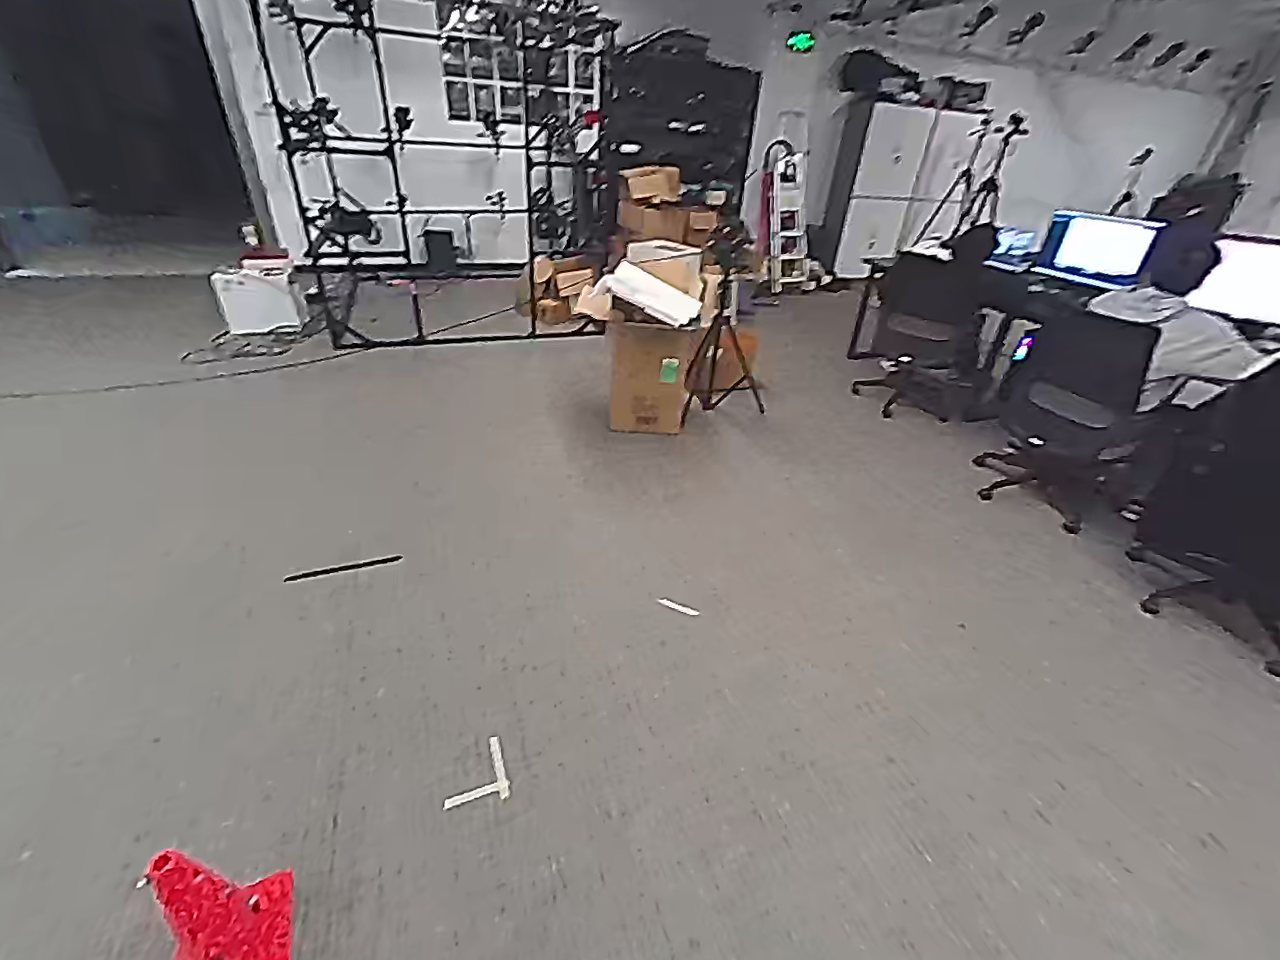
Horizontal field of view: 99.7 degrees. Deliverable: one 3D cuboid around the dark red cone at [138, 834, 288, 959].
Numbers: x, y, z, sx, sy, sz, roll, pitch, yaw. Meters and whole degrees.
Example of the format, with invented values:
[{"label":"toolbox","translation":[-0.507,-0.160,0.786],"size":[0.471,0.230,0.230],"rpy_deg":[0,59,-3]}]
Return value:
[{"label":"dark red cone","translation":[-0.801,0.751,0.975],"size":[0.202,0.394,0.201],"rpy_deg":[-13,38,-24]}]
